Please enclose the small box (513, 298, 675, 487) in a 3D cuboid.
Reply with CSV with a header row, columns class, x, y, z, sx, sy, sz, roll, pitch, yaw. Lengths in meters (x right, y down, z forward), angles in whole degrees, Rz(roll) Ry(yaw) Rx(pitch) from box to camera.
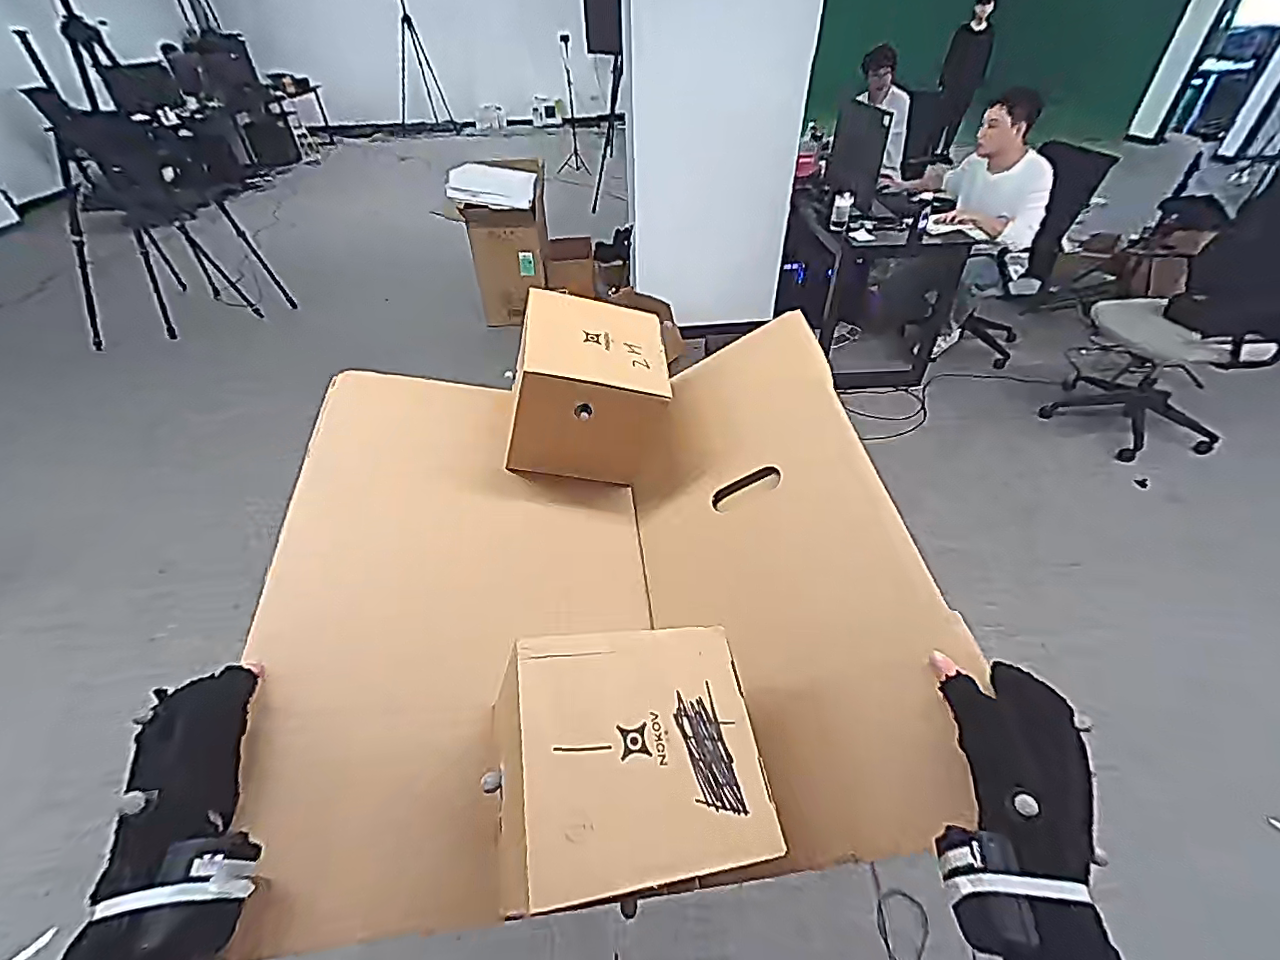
class,x,y,z,sx,sy,sz,roll,pitch,yaw
small box,-0.068,-0.108,0.719,0.179,0.176,0.168,9,49,-16
